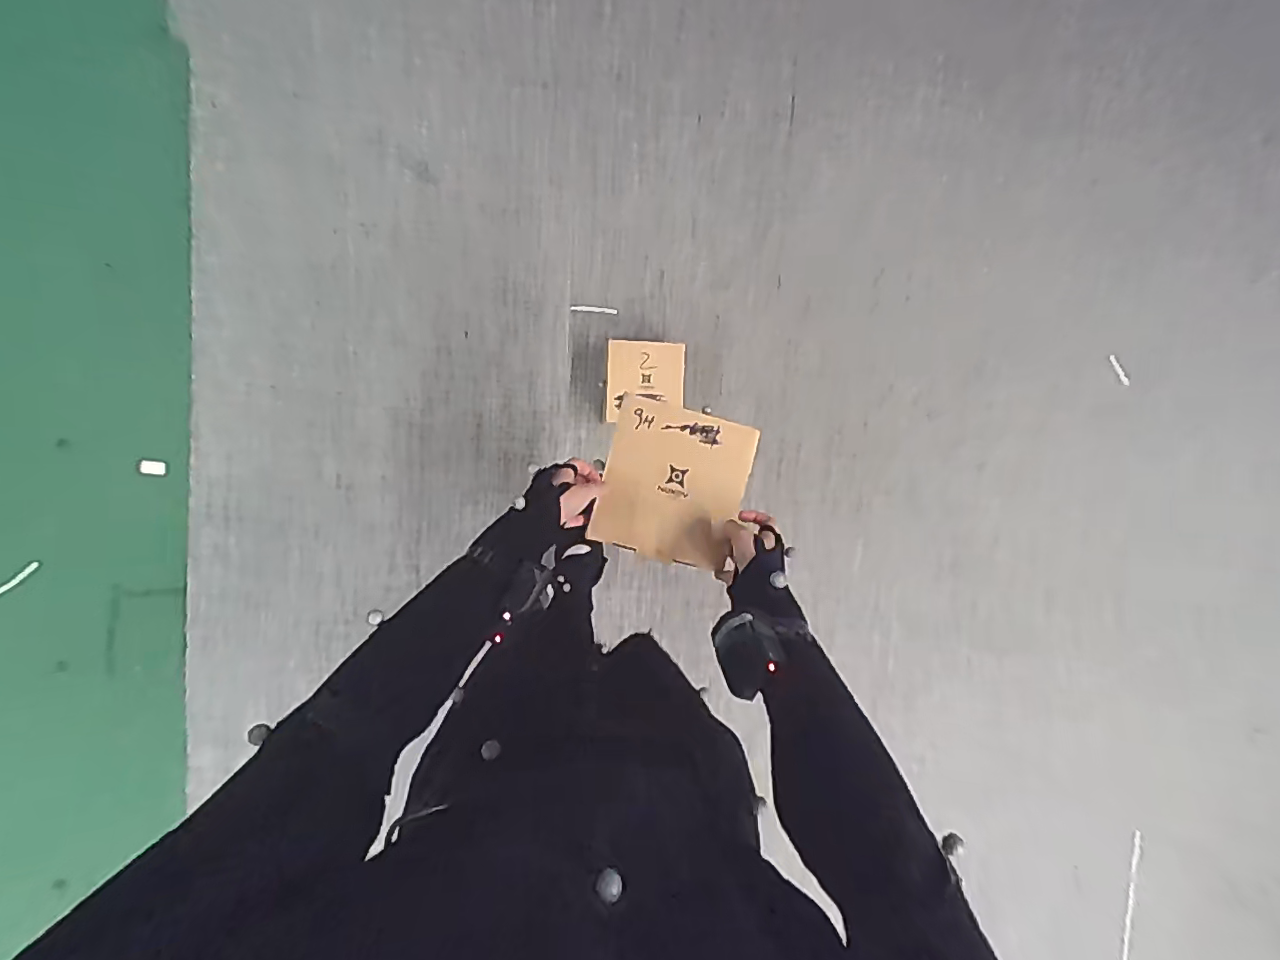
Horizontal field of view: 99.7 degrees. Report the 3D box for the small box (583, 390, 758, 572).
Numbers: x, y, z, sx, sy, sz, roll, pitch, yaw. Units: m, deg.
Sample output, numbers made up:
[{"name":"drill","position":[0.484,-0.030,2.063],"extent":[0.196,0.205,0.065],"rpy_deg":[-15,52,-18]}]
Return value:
[{"name":"small box","position":[0.032,0.001,0.698],"extent":[0.168,0.176,0.179],"rpy_deg":[16,89,-4]}]
